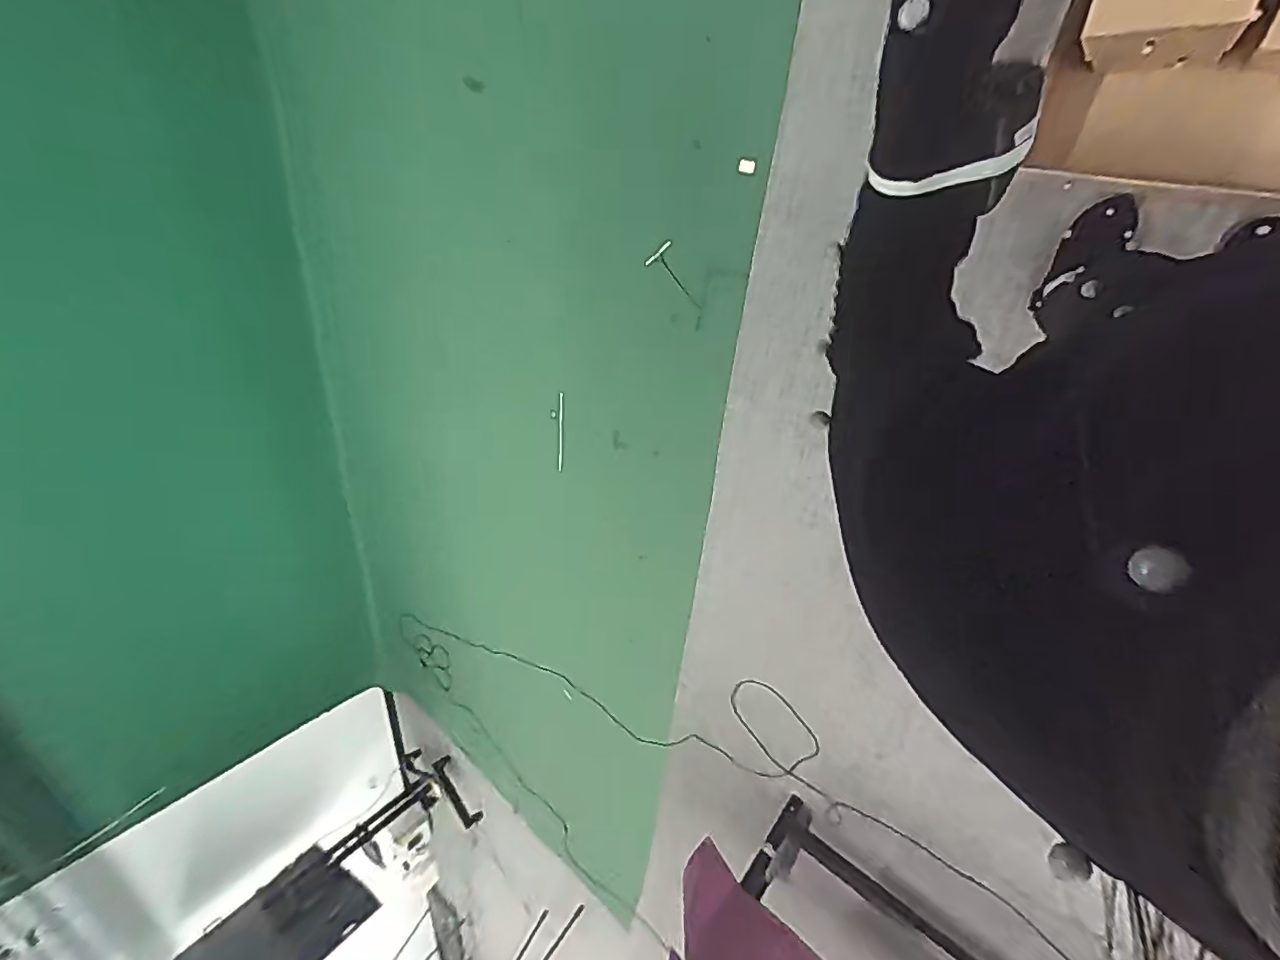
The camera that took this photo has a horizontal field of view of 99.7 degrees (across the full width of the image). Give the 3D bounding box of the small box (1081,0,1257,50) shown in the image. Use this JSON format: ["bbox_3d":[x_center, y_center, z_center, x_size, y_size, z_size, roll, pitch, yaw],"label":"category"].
[{"bbox_3d":[0.742,-0.705,0.731,0.179,0.176,0.168,24,125,33],"label":"small box"}]

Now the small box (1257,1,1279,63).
[{"bbox_3d":[1.002,-0.691,0.733,0.168,0.176,0.179,29,128,32],"label":"small box"}]
